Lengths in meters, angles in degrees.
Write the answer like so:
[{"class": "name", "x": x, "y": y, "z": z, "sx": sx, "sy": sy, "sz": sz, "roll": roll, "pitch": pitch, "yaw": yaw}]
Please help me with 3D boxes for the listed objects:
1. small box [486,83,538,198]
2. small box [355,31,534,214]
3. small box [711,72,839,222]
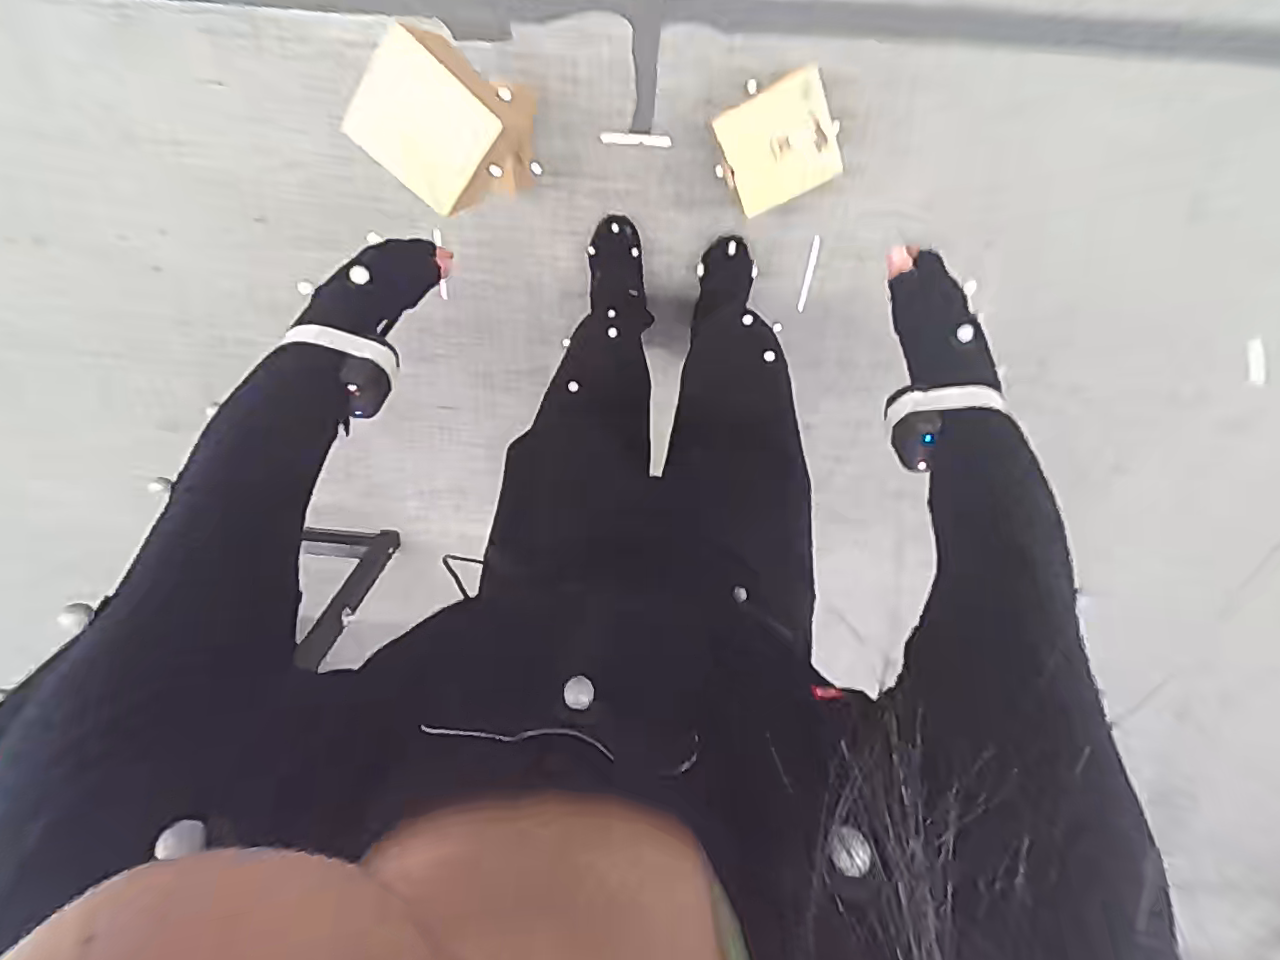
[{"class": "small box", "x": -0.289, "y": -0.630, "z": 0.992, "sx": 0.179, "sy": 0.176, "sz": 0.168, "roll": 8, "pitch": 123, "yaw": 0}, {"class": "small box", "x": -0.299, "y": -0.547, "z": 0.846, "sx": 0.179, "sy": 0.176, "sz": 0.168, "roll": 38, "pitch": 118, "yaw": -18}, {"class": "small box", "x": 0.235, "y": -0.596, "z": 0.973, "sx": 0.179, "sy": 0.176, "sz": 0.168, "roll": -20, "pitch": 122, "yaw": 17}]
